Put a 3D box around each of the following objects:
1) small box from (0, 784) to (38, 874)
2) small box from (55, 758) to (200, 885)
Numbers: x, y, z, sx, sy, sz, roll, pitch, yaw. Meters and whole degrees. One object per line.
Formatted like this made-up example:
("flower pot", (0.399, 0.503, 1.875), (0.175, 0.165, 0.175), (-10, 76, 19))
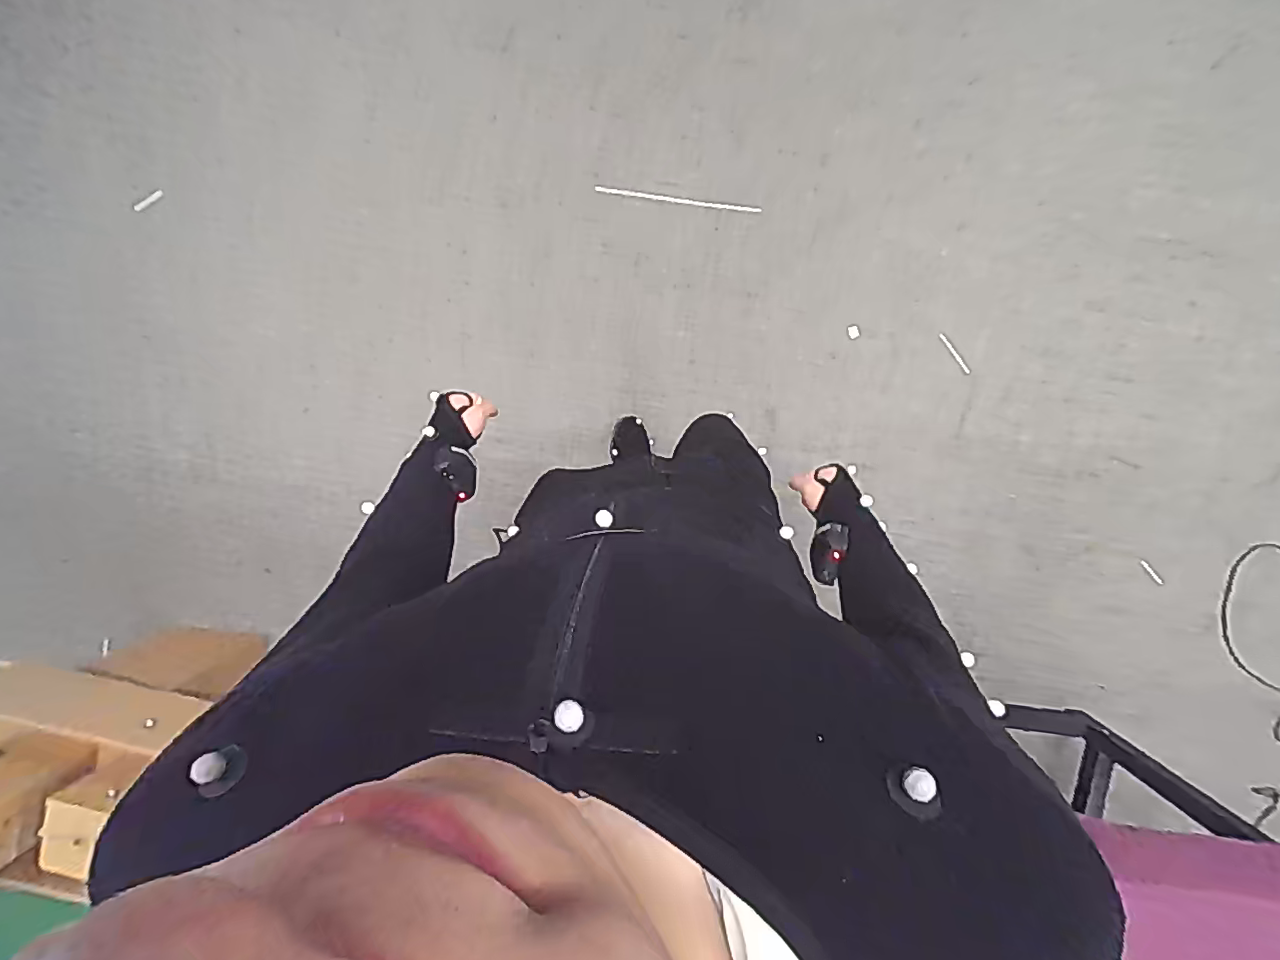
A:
("small box", (-1.401, 0.737, 1.092), (0.179, 0.176, 0.168), (11, 95, -1))
("small box", (-1.167, 0.774, 1.244), (0.179, 0.176, 0.168), (12, 95, 3))
